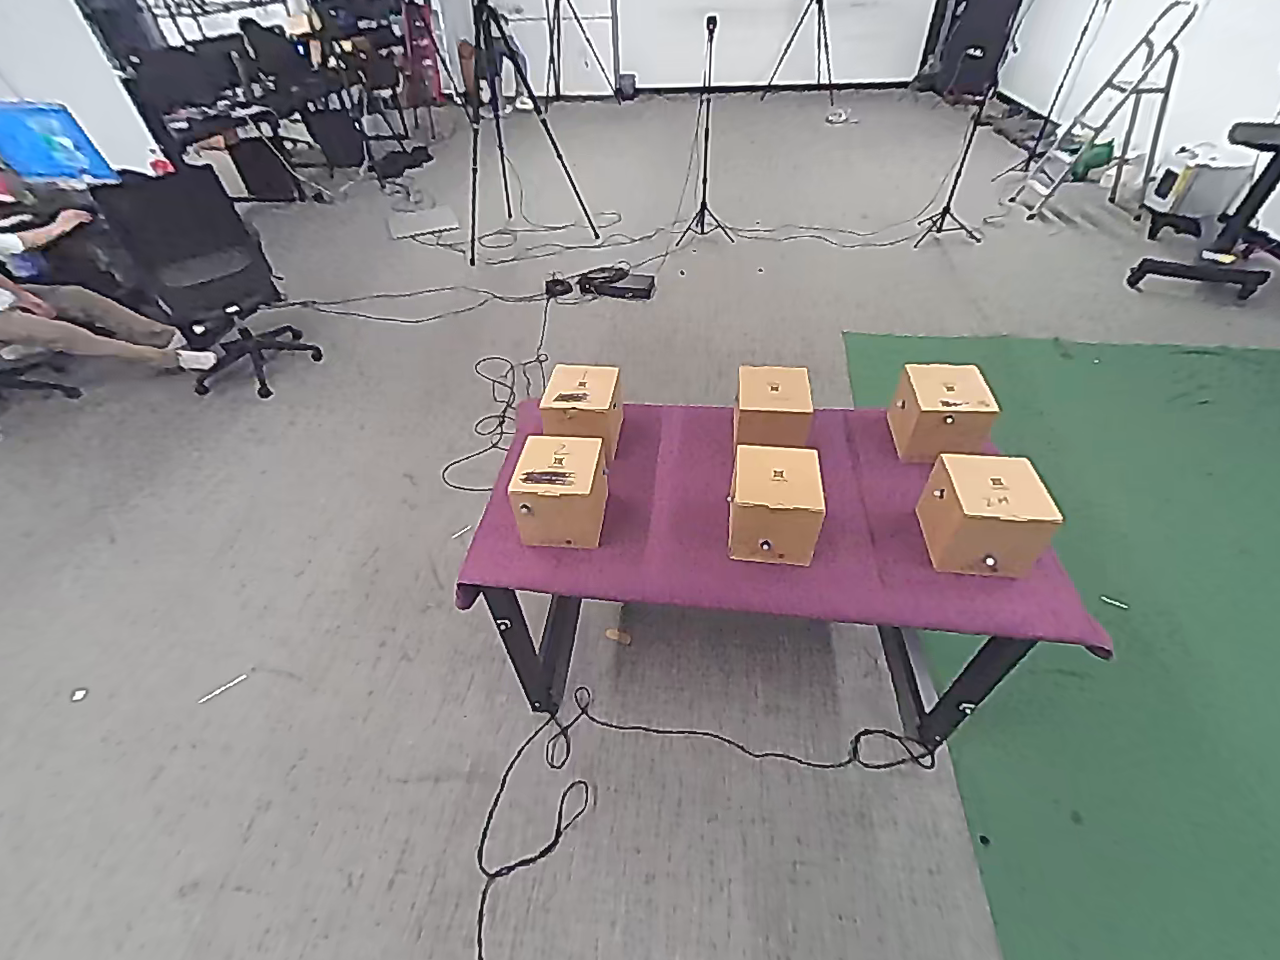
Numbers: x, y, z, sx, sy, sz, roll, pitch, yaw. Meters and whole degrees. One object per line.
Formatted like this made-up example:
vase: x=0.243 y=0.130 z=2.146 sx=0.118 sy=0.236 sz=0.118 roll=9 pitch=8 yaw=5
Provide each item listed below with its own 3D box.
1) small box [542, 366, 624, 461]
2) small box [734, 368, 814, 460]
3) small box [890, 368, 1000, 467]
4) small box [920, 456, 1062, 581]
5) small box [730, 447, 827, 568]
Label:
small box: x=-0.134 y=-0.164 z=1.357 sx=0.168 sy=0.176 sz=0.179 roll=4 pitch=46 yaw=6
small box: x=0.323 y=-0.155 z=1.331 sx=0.168 sy=0.176 sz=0.179 roll=4 pitch=47 yaw=7
small box: x=0.720 y=-0.149 z=1.301 sx=0.168 sy=0.176 sz=0.179 roll=2 pitch=46 yaw=8
small box: x=0.679 y=0.075 z=1.074 sx=0.168 sy=0.176 sz=0.179 roll=4 pitch=44 yaw=8
small box: x=0.278 y=0.055 z=1.120 sx=0.168 sy=0.176 sz=0.179 roll=5 pitch=44 yaw=7
